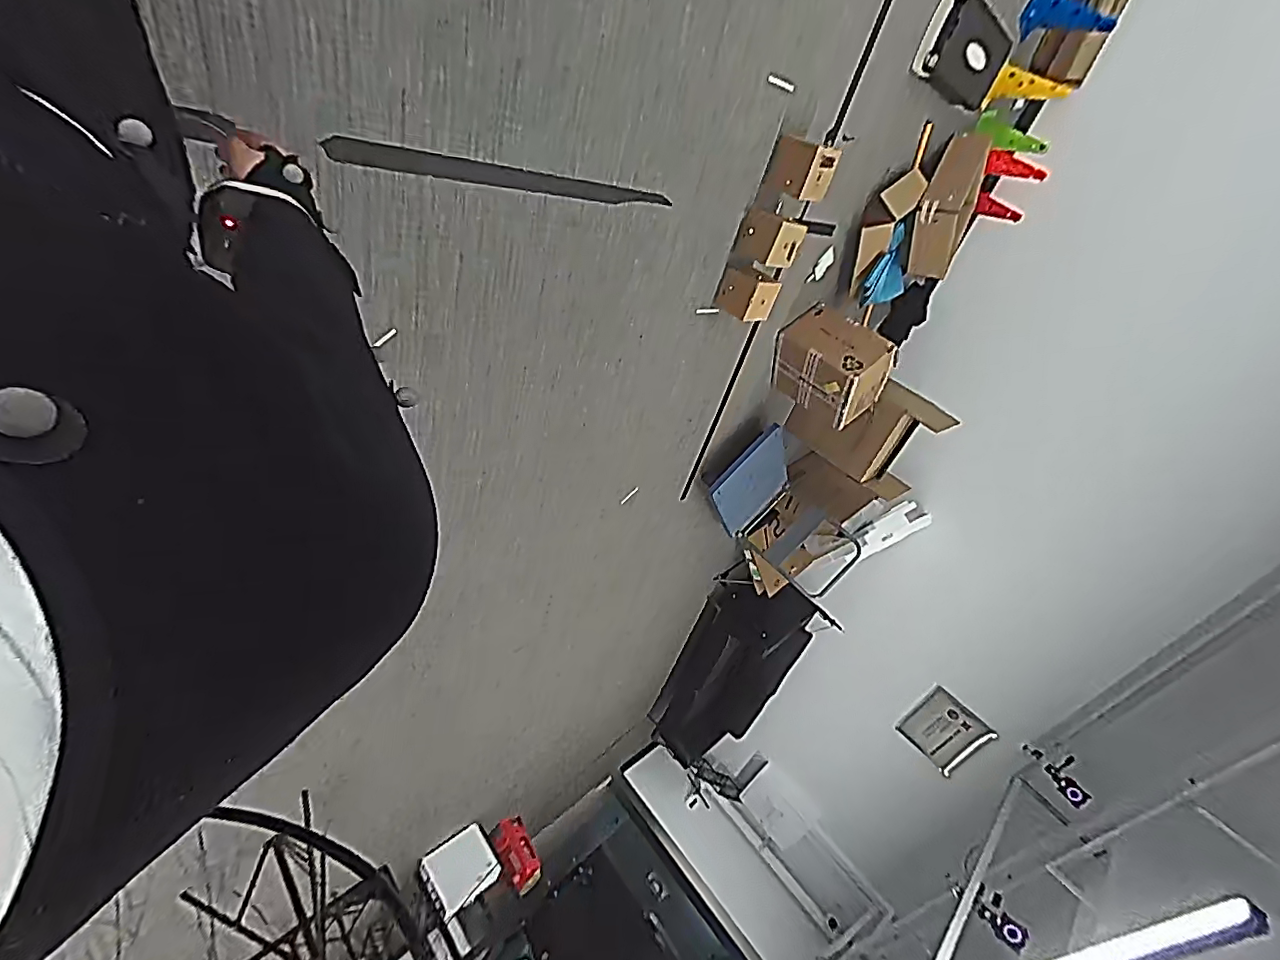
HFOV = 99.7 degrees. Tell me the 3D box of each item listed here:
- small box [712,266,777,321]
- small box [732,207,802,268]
[{"bbox_3d":[0.435,-0.785,2.267,0.179,0.176,0.168,-18,140,-42],"label":"small box"},{"bbox_3d":[0.497,-0.956,2.131,0.179,0.176,0.168,-16,138,-43],"label":"small box"}]
